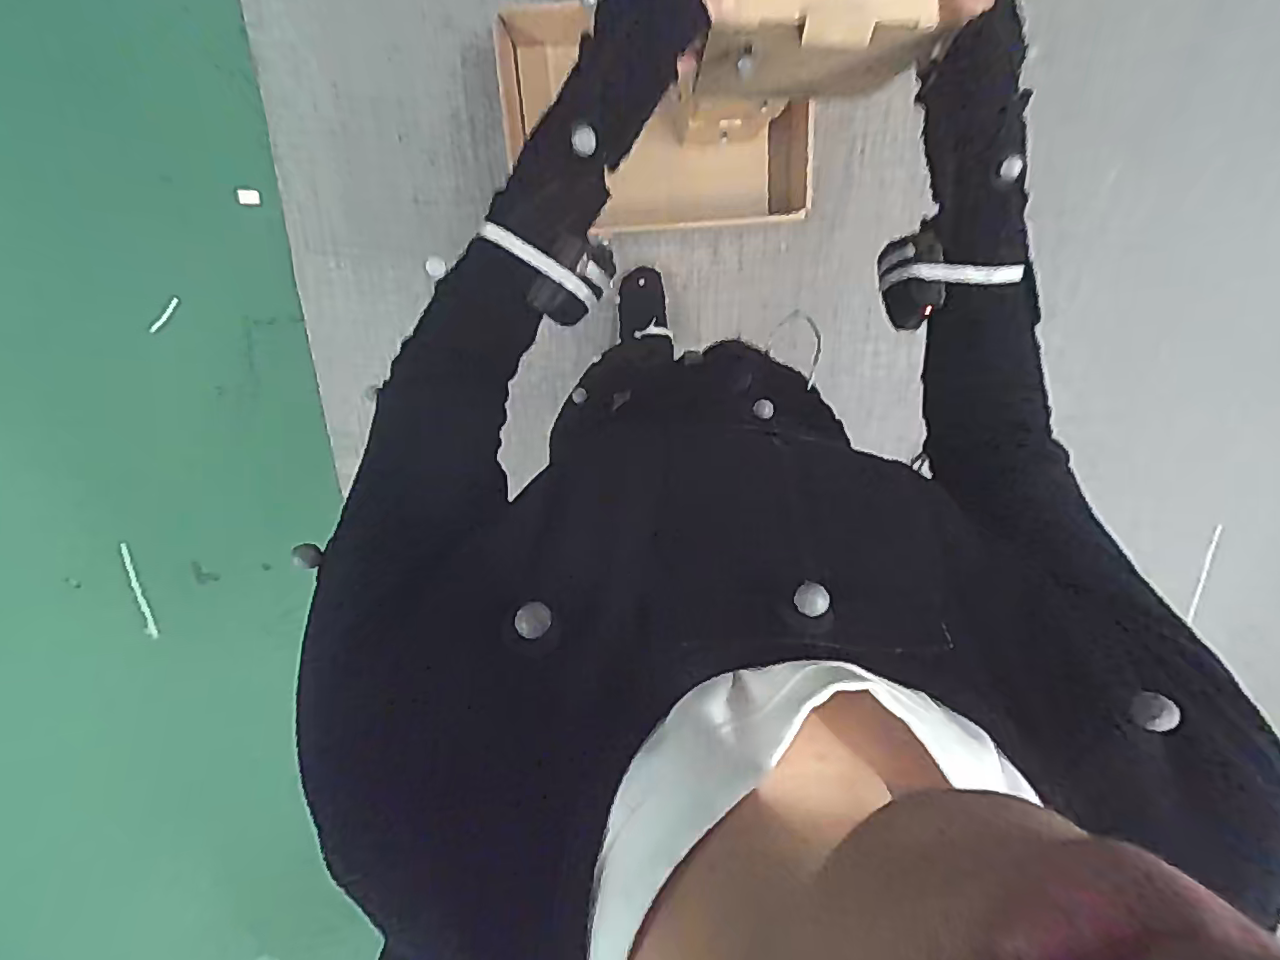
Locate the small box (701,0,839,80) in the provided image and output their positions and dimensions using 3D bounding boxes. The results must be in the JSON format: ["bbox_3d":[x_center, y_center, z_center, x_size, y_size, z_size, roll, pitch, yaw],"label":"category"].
[{"bbox_3d":[0.181,-0.702,0.776,0.168,0.176,0.179,-3,109,0],"label":"small box"}]

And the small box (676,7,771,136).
[{"bbox_3d":[0.165,-0.815,1.085,0.168,0.176,0.179,-7,109,3],"label":"small box"}]

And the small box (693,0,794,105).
[{"bbox_3d":[0.180,-0.757,0.913,0.168,0.176,0.179,-3,109,1],"label":"small box"}]
